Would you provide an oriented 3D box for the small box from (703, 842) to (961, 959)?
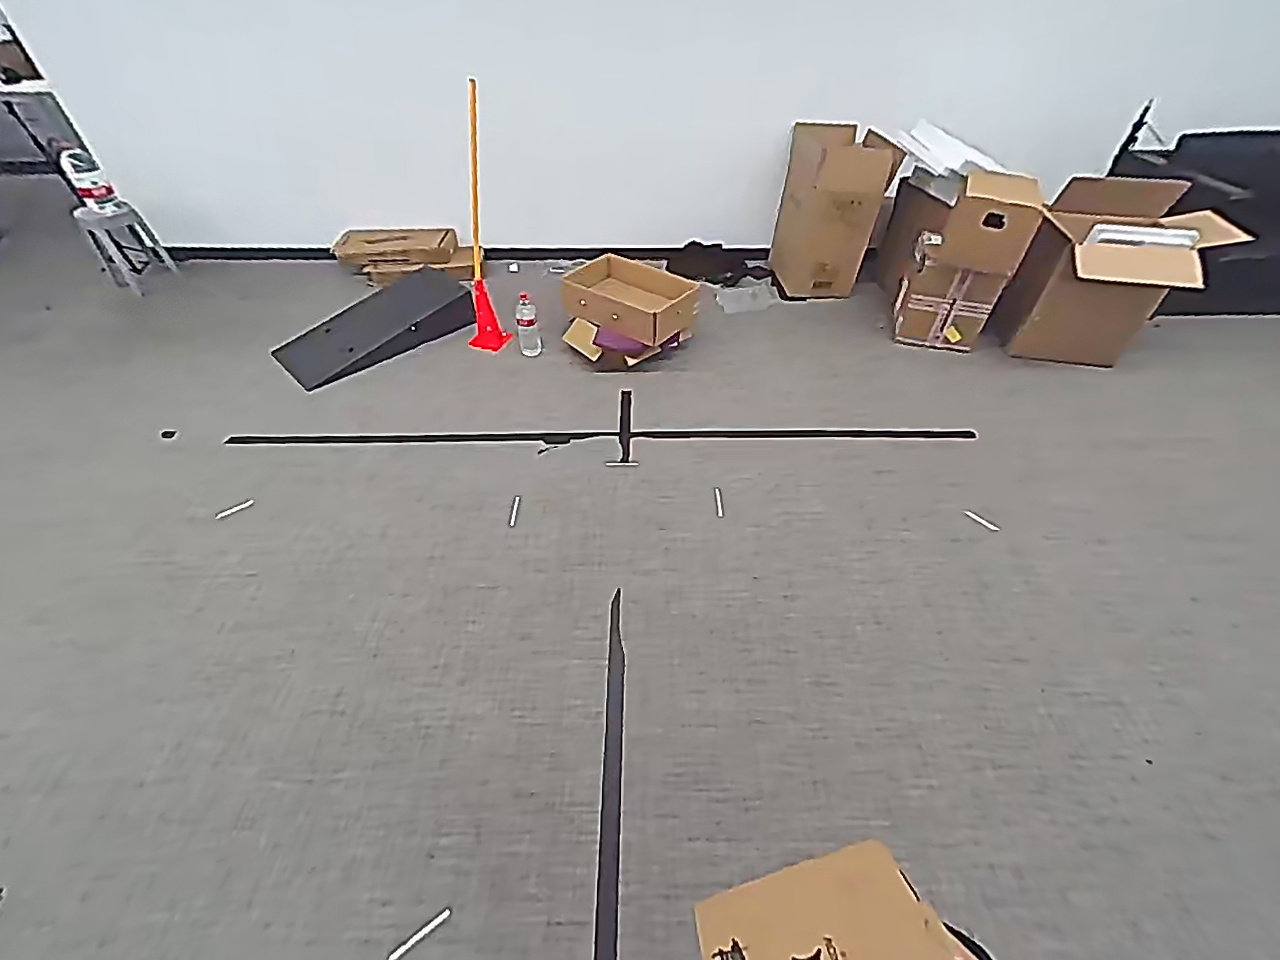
[{"bbox_3d":[0.165,0.432,0.408,0.179,0.176,0.168,-19,8,0],"label":"small box"}]
